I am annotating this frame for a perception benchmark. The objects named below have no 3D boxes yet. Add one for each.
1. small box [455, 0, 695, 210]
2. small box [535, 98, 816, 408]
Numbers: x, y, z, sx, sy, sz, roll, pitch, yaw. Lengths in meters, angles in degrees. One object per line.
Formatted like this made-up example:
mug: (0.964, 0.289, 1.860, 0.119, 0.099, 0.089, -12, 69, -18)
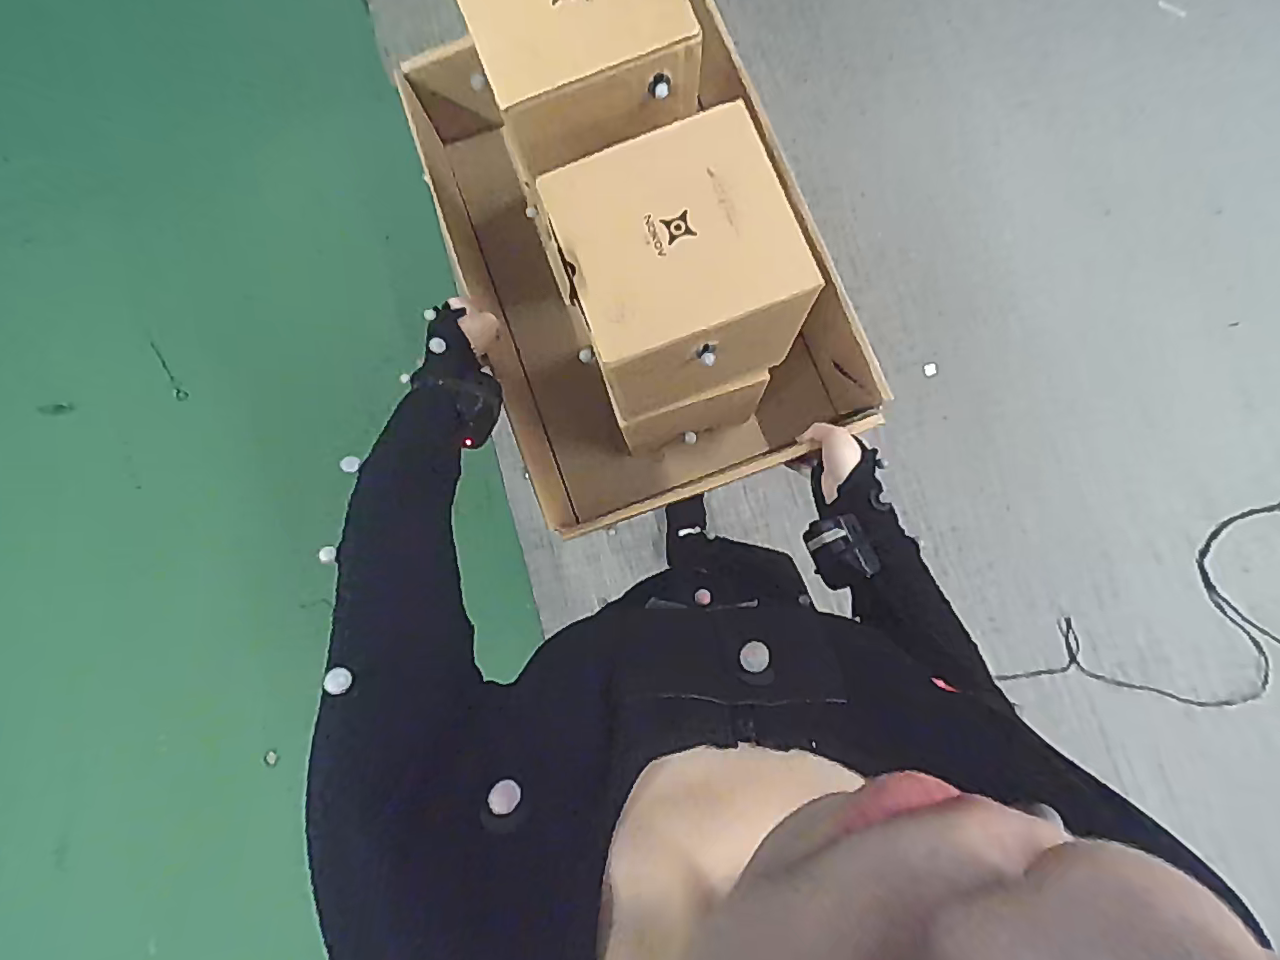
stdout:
small box: (-0.058, -0.396, 0.524, 0.179, 0.176, 0.168, -22, 83, -1)
small box: (0.030, -0.183, 0.491, 0.179, 0.176, 0.168, -21, 82, 1)
